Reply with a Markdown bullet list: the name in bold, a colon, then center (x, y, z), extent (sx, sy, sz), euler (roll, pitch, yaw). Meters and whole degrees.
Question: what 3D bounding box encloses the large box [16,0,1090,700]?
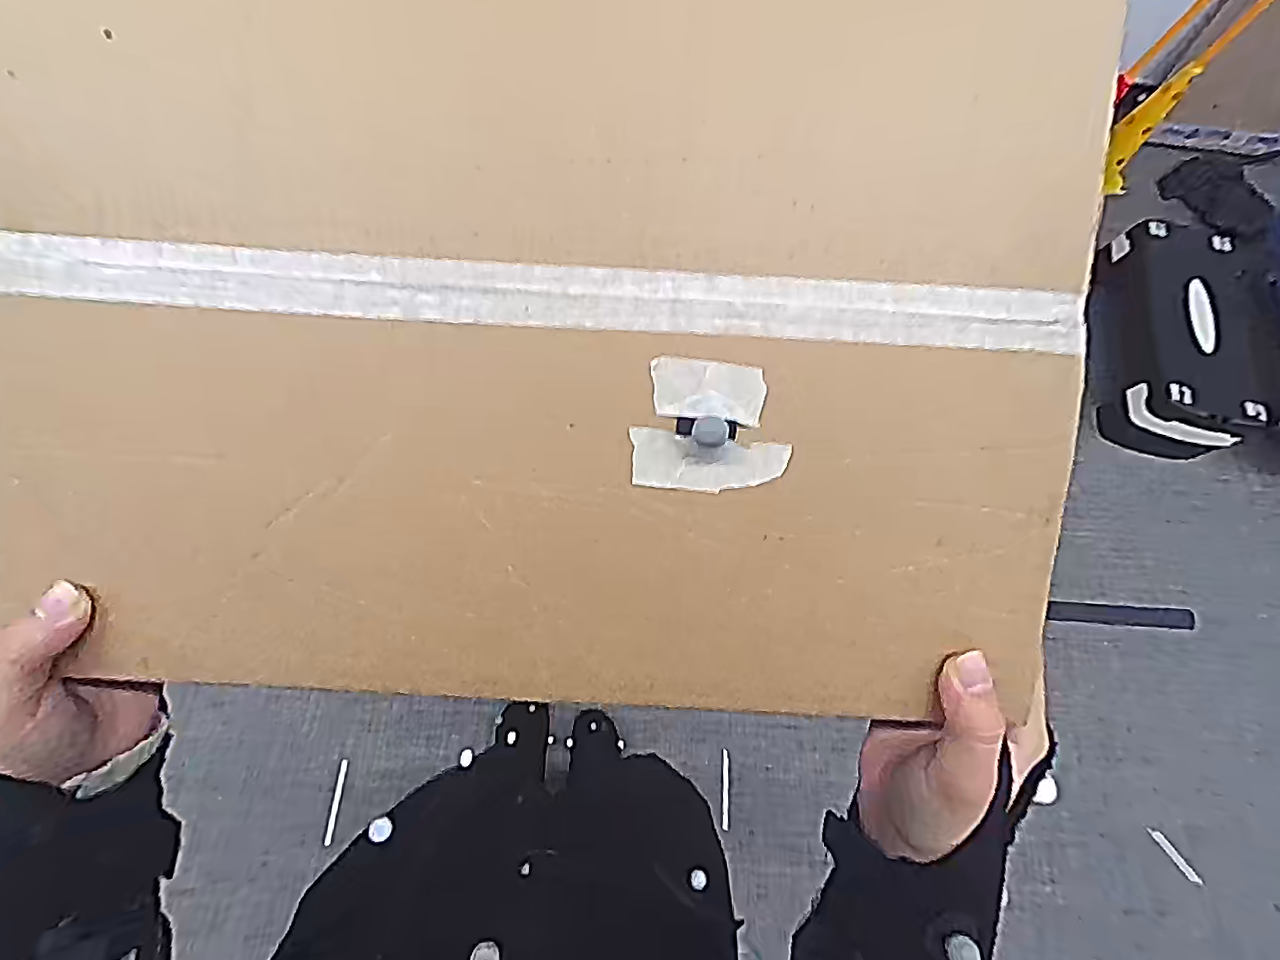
- **large box**: center (-0.039, -0.079, 0.358), extent (0.408, 0.320, 0.320), euler (3, 96, -2)
